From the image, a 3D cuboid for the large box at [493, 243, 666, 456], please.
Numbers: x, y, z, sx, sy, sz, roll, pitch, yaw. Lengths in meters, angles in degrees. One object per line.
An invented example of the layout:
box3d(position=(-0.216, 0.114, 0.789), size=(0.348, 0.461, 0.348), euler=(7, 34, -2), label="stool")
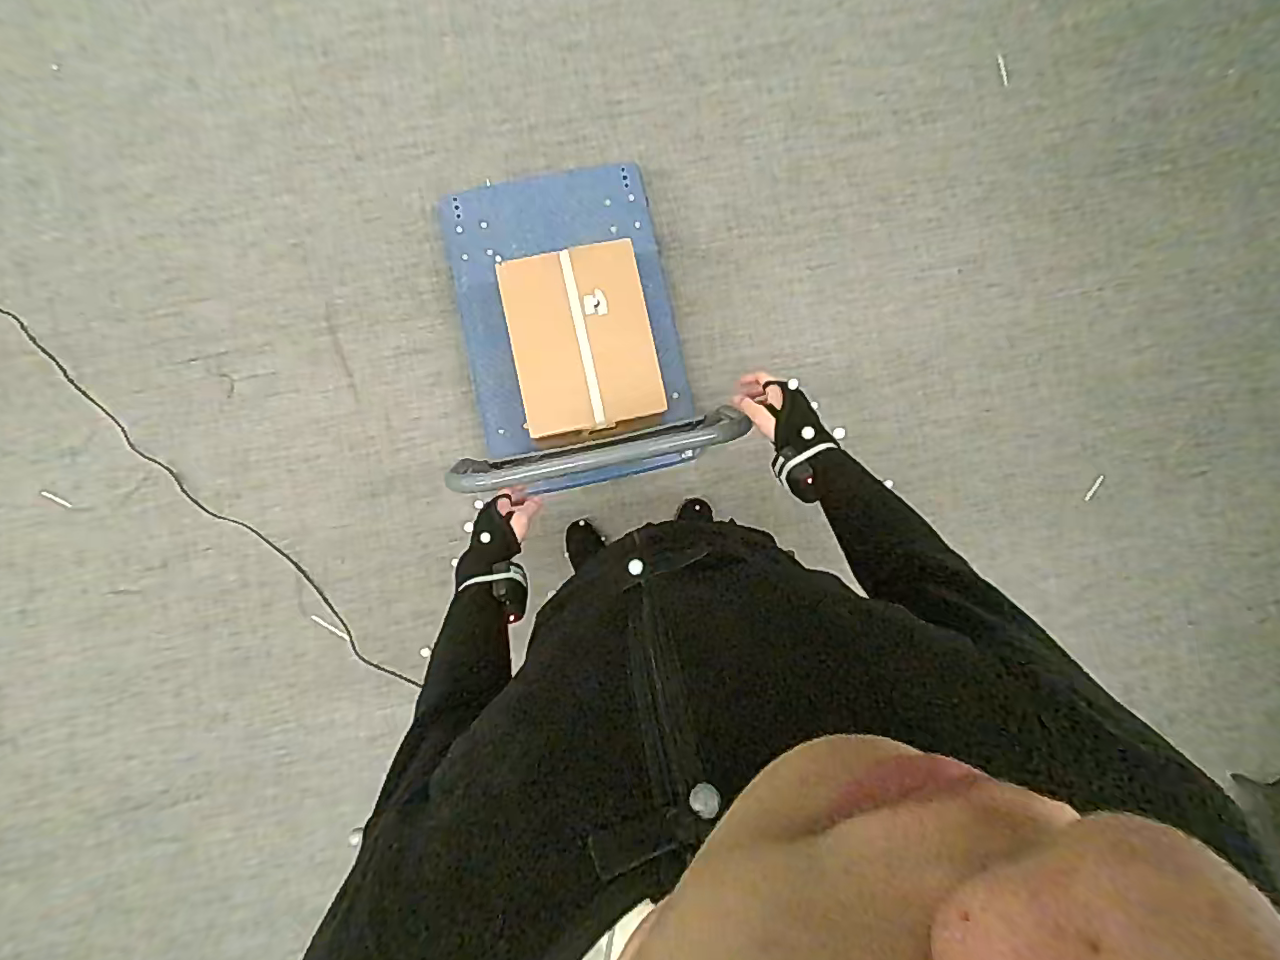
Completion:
box3d(position=(-0.141, -0.301, 1.350), size=(0.320, 0.320, 0.408), euler=(-13, 86, -5), label="large box")
